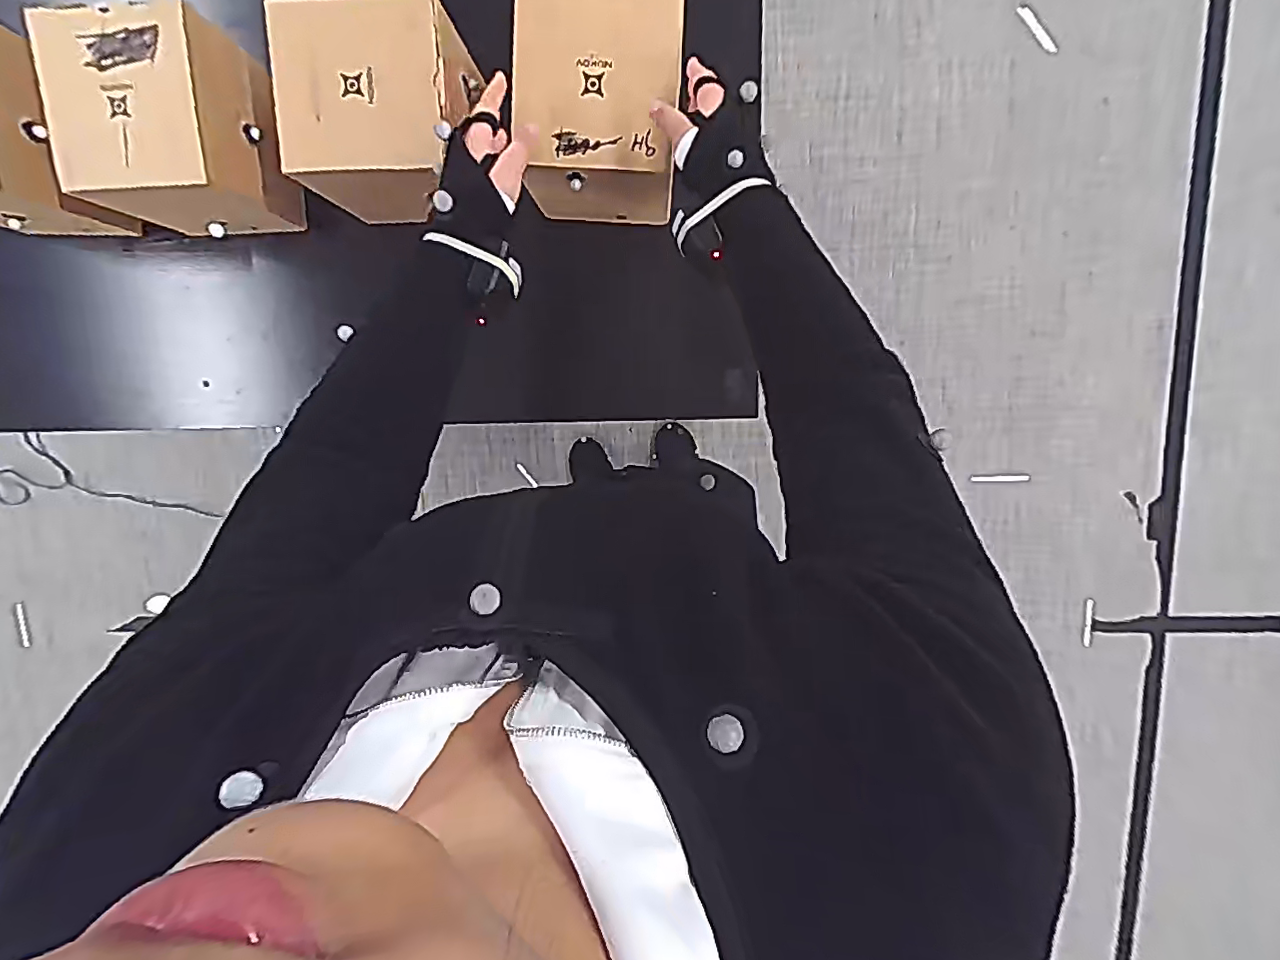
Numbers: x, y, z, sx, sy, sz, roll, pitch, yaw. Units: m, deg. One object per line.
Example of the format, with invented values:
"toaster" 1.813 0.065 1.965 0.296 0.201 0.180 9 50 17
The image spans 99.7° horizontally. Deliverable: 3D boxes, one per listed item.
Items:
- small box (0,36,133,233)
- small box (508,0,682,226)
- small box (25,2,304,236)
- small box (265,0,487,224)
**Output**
"small box" -0.758 -0.407 0.643 0.168 0.176 0.179 2 98 1
"small box" -0.044 -0.414 0.616 0.168 0.176 0.179 4 98 2
"small box" -0.534 -0.405 0.635 0.168 0.176 0.179 -2 100 2
"small box" -0.285 -0.412 0.628 0.179 0.176 0.168 -1 97 3
